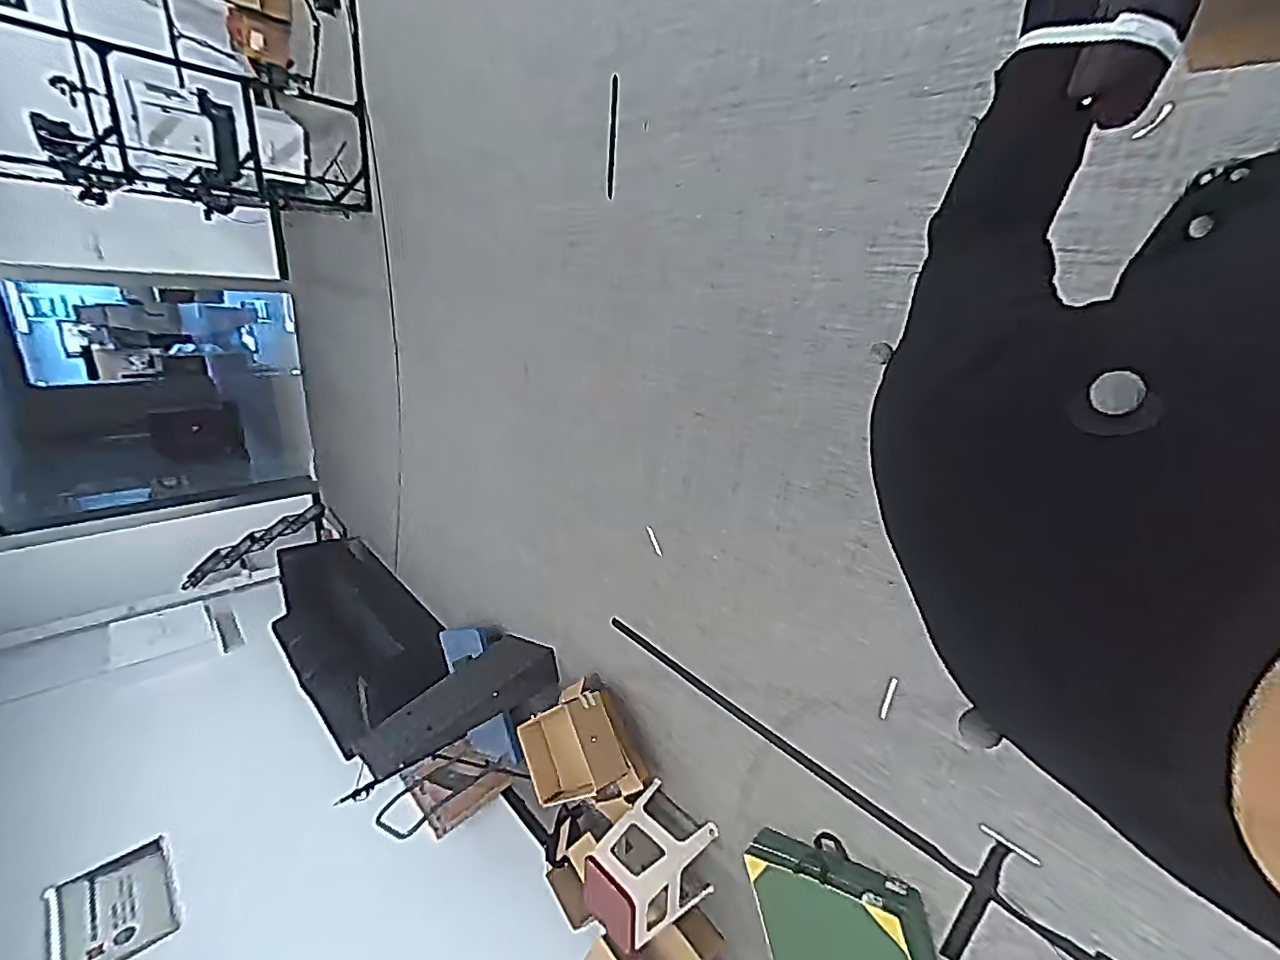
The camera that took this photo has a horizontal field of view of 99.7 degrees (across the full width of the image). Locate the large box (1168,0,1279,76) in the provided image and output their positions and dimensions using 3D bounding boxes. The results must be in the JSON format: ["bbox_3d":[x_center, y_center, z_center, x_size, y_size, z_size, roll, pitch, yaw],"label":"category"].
[{"bbox_3d":[0.582,-0.451,0.264,0.408,0.320,0.320,22,123,40],"label":"large box"}]
